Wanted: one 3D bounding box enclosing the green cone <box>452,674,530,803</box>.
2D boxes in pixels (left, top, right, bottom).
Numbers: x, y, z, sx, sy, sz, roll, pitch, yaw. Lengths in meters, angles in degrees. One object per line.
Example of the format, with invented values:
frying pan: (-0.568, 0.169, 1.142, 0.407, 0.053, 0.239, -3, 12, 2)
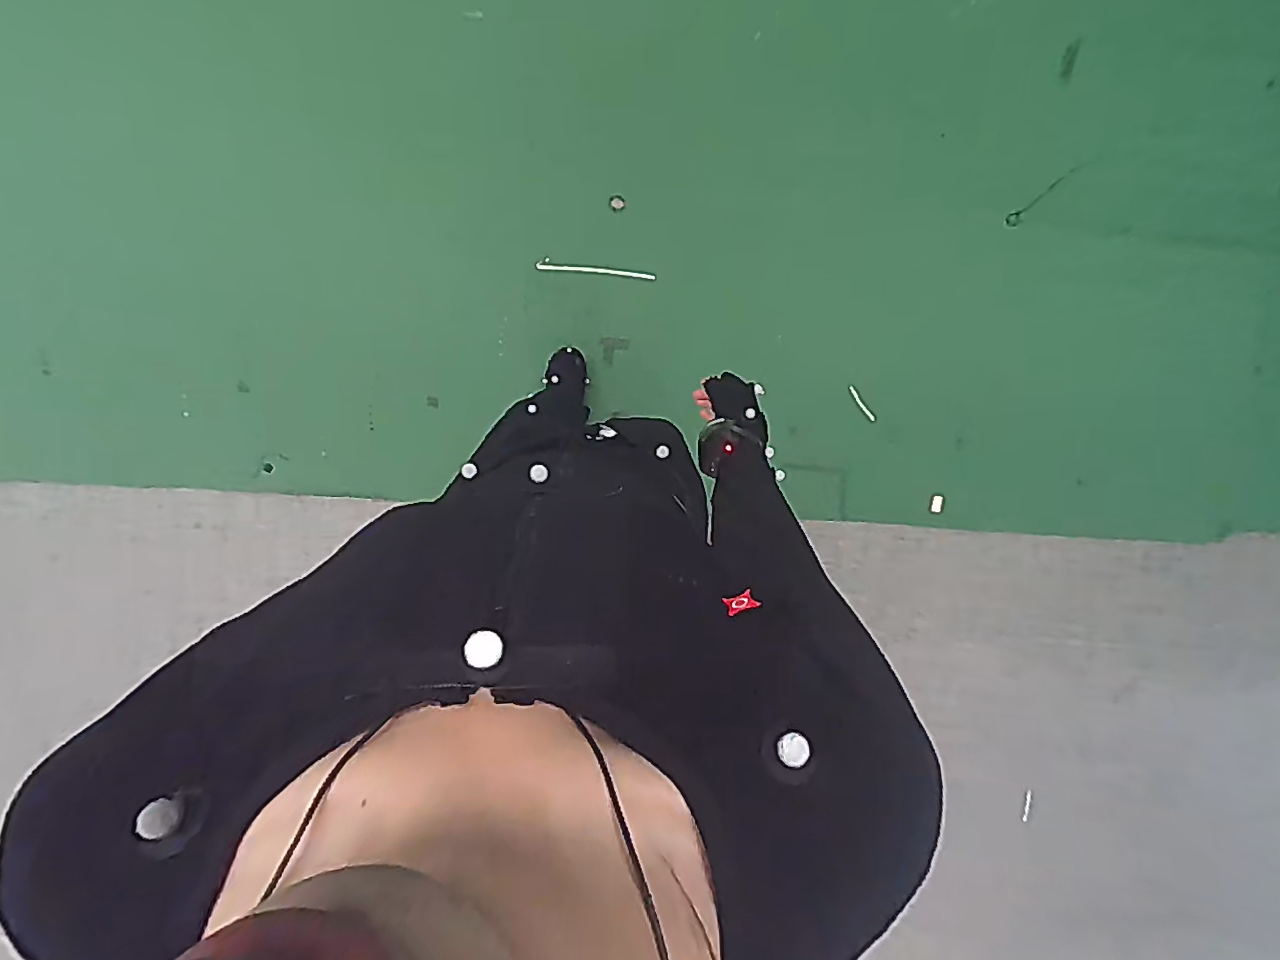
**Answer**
green cone: (-0.417, 0.682, 1.396, 0.200, 0.368, 0.202, 5, 98, -3)
